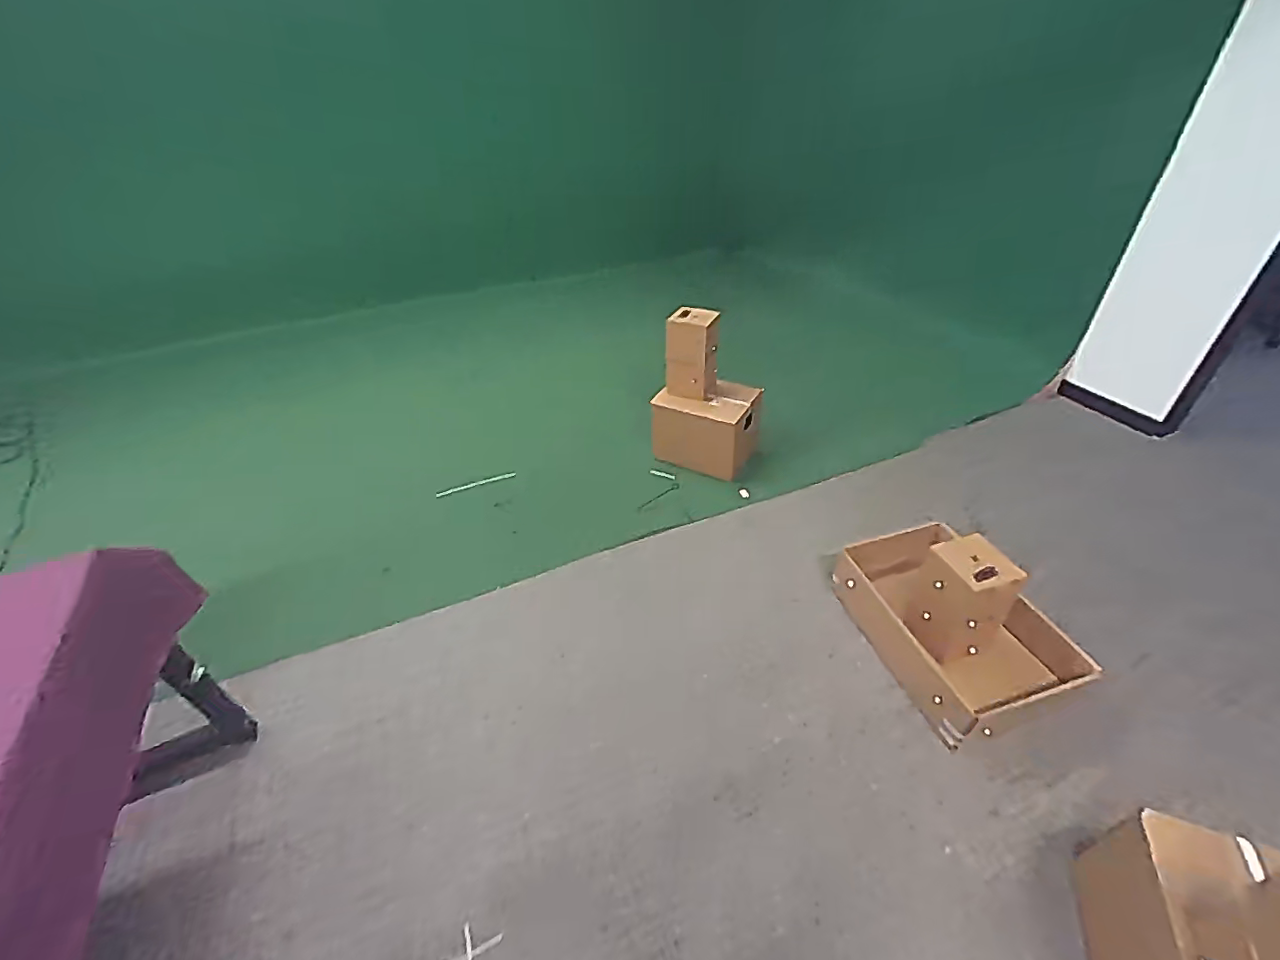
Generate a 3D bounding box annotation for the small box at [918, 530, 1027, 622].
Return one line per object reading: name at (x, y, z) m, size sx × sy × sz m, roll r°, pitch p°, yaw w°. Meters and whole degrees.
small box at (0.915, 0.273, 1.505) m, size 0.168 × 0.176 × 0.179 m, roll -13°, pitch 38°, yaw -10°

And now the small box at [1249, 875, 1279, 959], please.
small box at (0.932, 0.616, 0.673) m, size 0.168 × 0.176 × 0.179 m, roll 12°, pitch 41°, yaw 24°

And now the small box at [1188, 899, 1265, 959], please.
small box at (0.942, 0.752, 0.766) m, size 0.179 × 0.176 × 0.168 m, roll 15°, pitch 43°, yaw 27°

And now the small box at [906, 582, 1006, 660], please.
small box at (0.928, 0.401, 1.608) m, size 0.168 × 0.176 × 0.179 m, roll -14°, pitch 40°, yaw -10°
